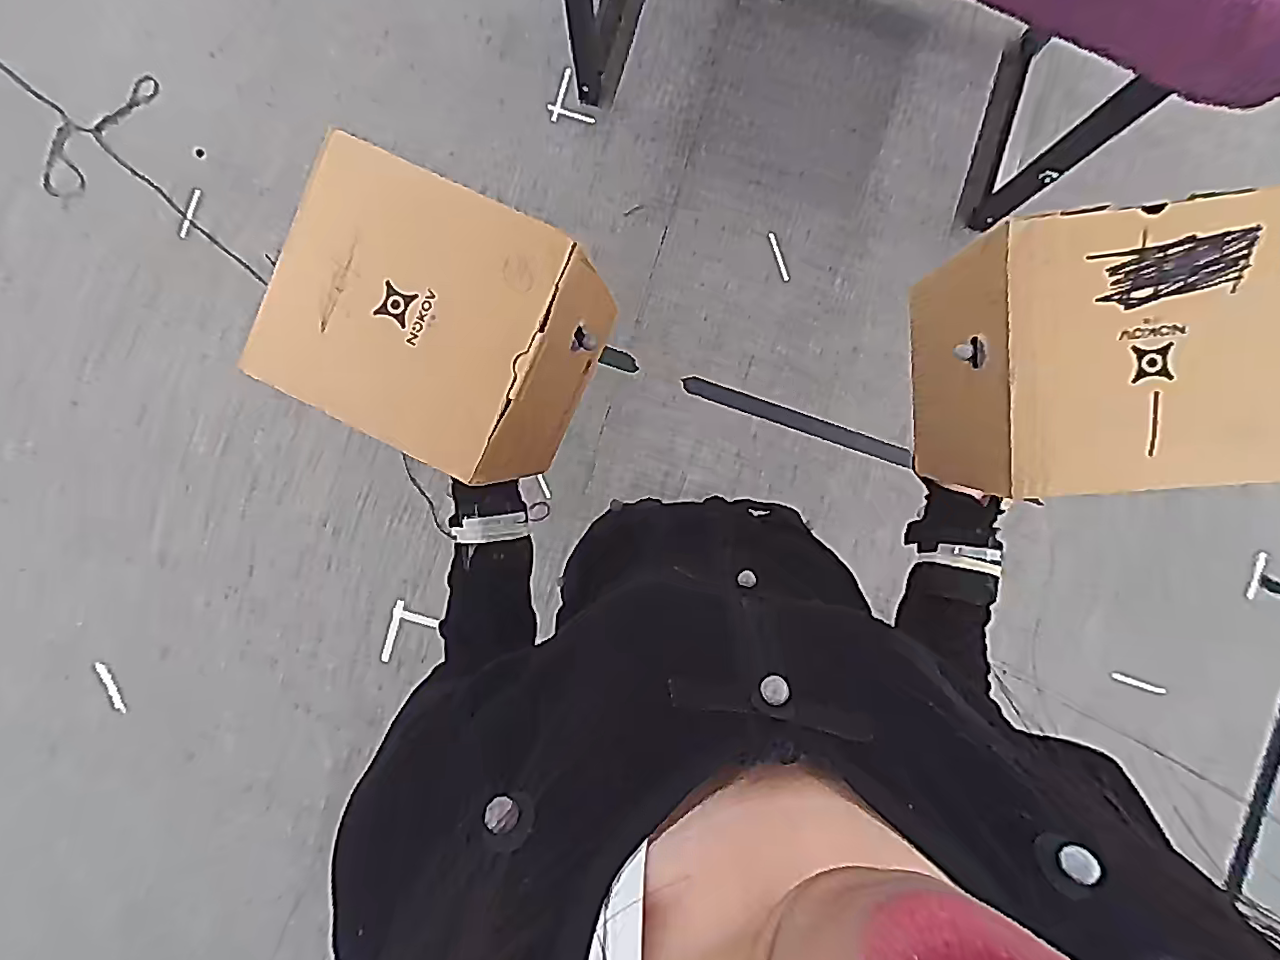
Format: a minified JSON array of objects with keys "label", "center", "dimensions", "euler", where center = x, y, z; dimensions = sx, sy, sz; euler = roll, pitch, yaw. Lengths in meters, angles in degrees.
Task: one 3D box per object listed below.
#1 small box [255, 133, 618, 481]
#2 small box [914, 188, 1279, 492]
[{"label":"small box","center":[-0.132,-0.113,0.418],"dimensions":[0.179,0.176,0.168],"euler":[25,95,5]},{"label":"small box","center":[0.325,-0.090,0.413],"dimensions":[0.168,0.176,0.179],"euler":[-4,96,8]}]
